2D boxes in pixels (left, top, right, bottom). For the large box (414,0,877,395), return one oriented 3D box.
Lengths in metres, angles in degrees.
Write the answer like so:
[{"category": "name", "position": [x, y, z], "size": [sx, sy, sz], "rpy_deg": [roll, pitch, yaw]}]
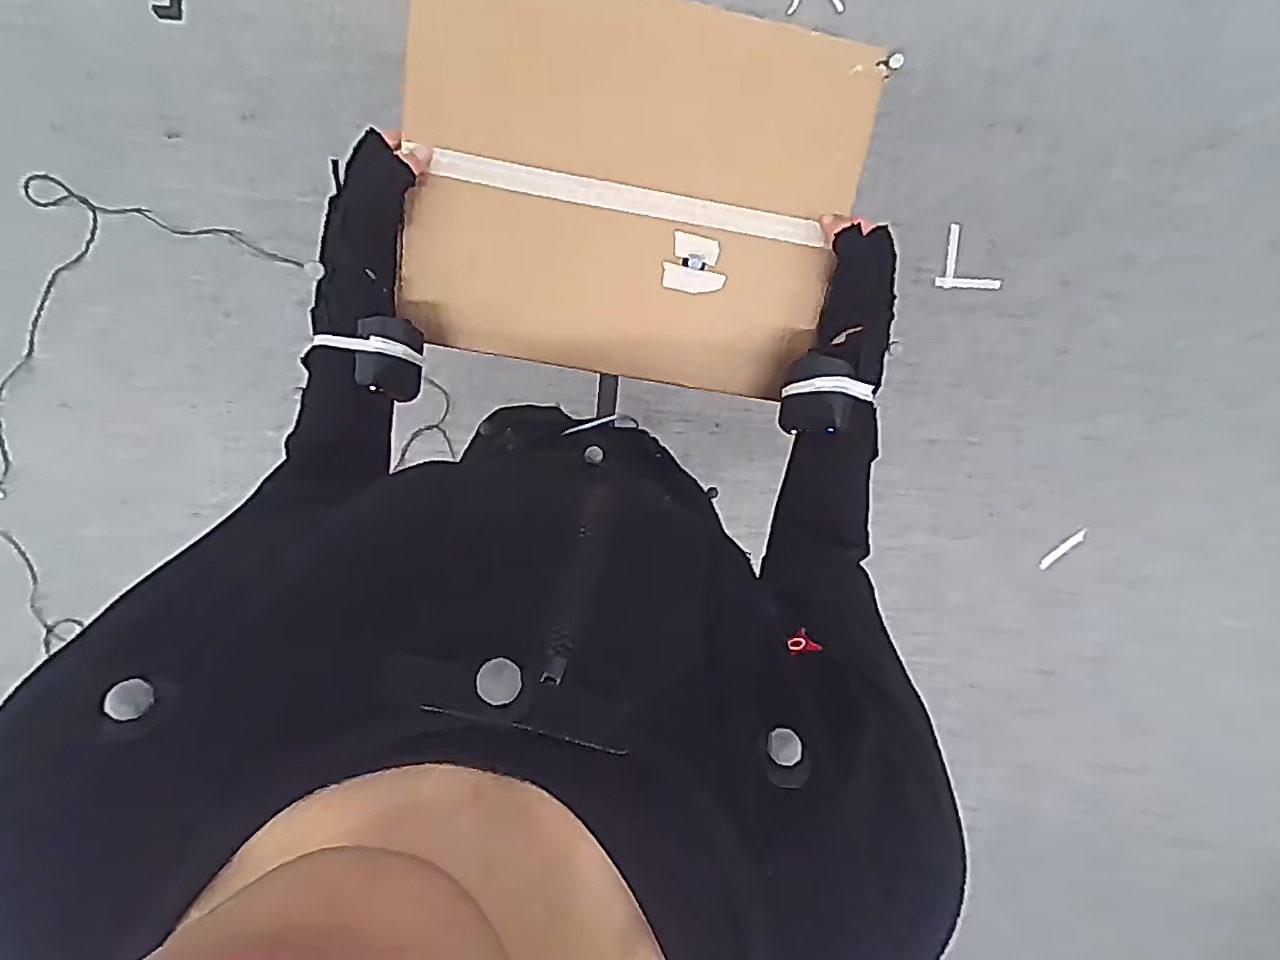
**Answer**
[{"category": "large box", "position": [-0.015, -0.297, 0.646], "size": [0.408, 0.320, 0.320], "rpy_deg": [8, 106, -6]}]
